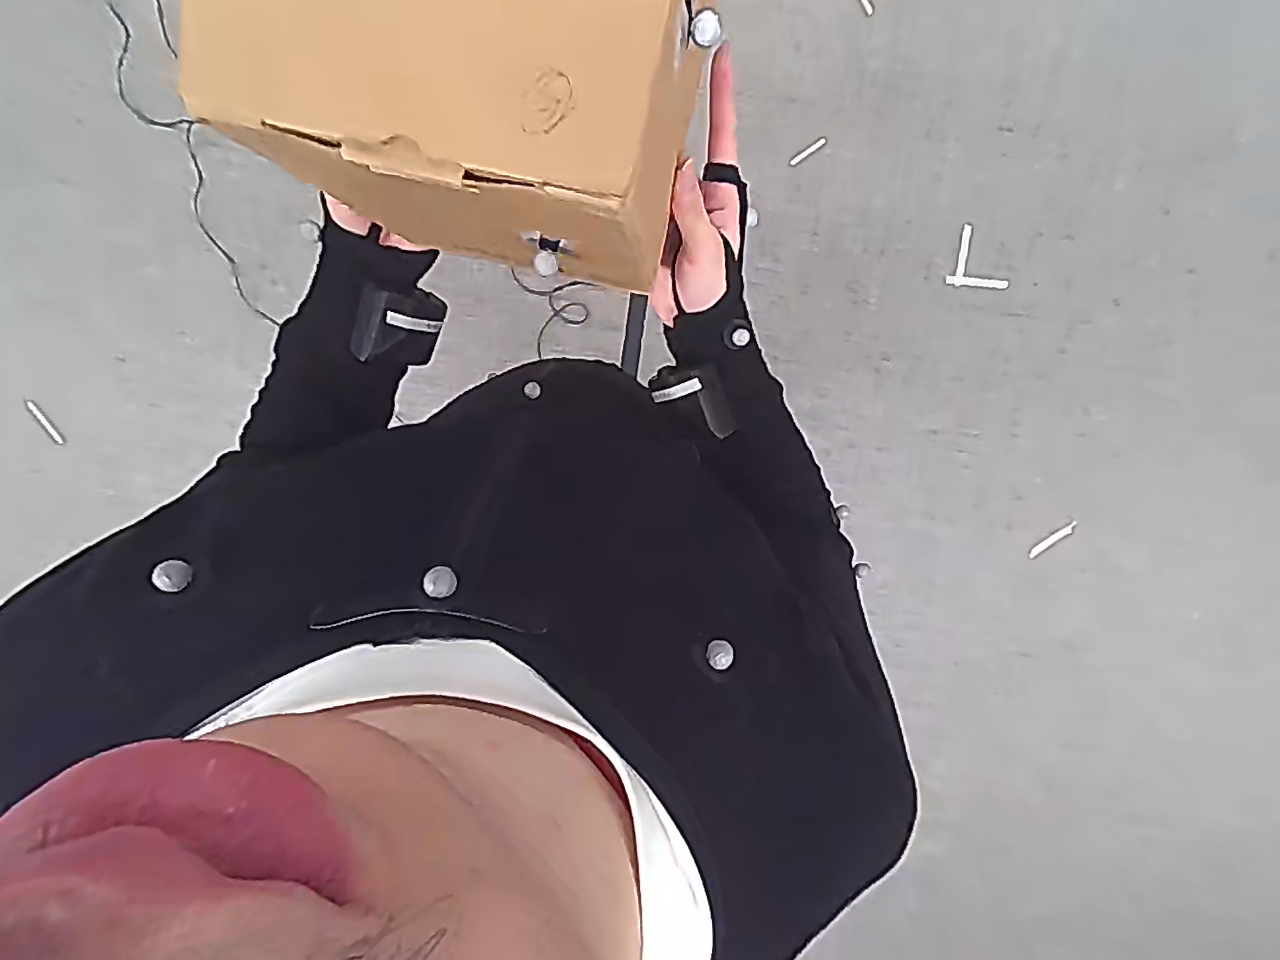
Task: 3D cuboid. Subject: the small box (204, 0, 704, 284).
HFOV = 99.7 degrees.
[{"bbox_3d":[-0.062,-0.211,0.266,0.168,0.176,0.179,12,99,1],"label":"small box"}]
